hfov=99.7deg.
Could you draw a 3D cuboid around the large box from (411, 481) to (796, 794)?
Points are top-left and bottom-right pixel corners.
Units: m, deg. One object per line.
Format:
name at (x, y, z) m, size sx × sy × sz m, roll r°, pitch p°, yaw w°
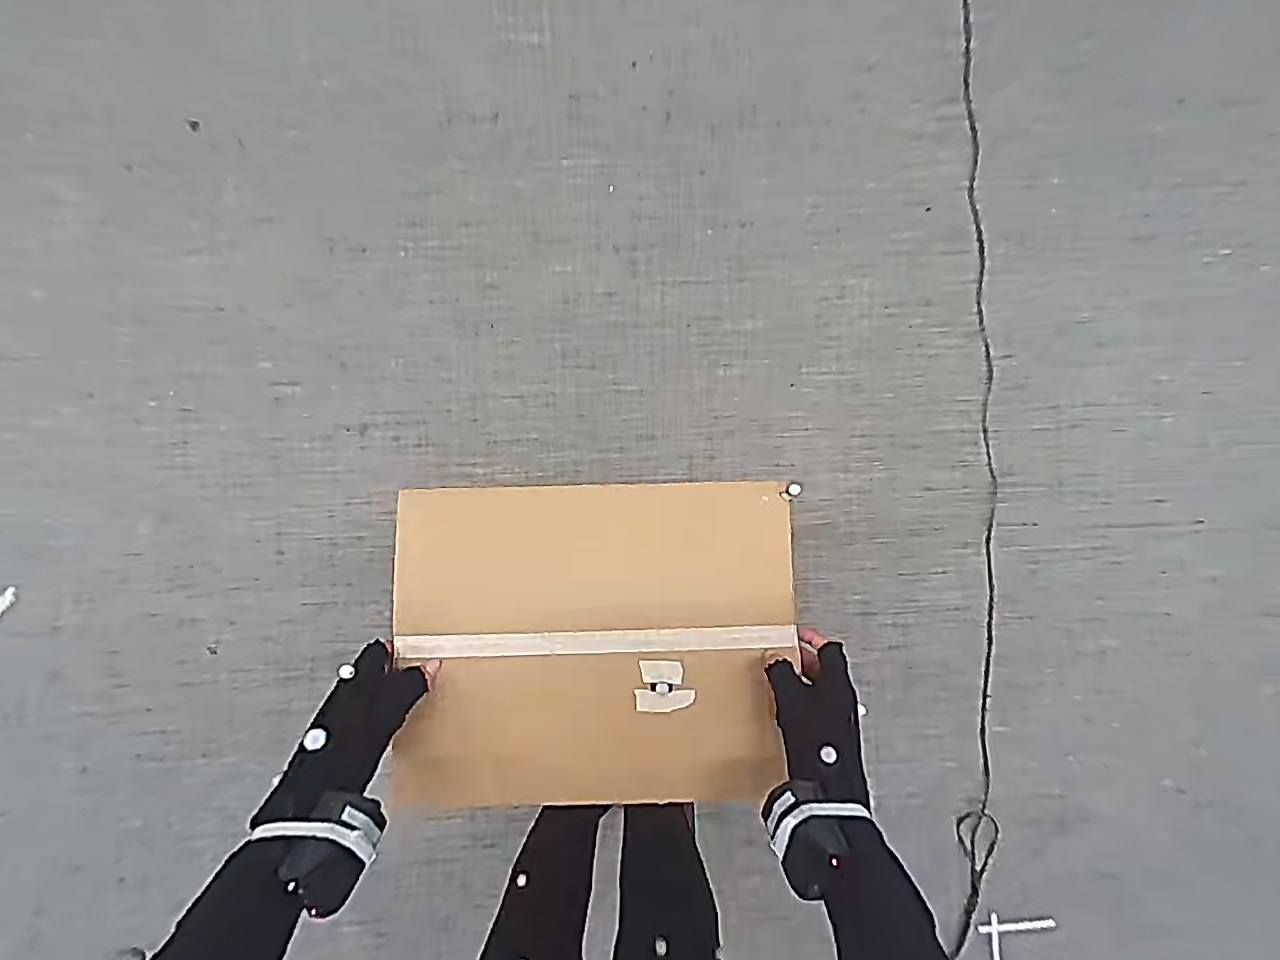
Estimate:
large box at (-0.045, 0.180, 0.720) m, size 0.408 × 0.320 × 0.320 m, roll -2°, pitch 84°, yaw -1°
